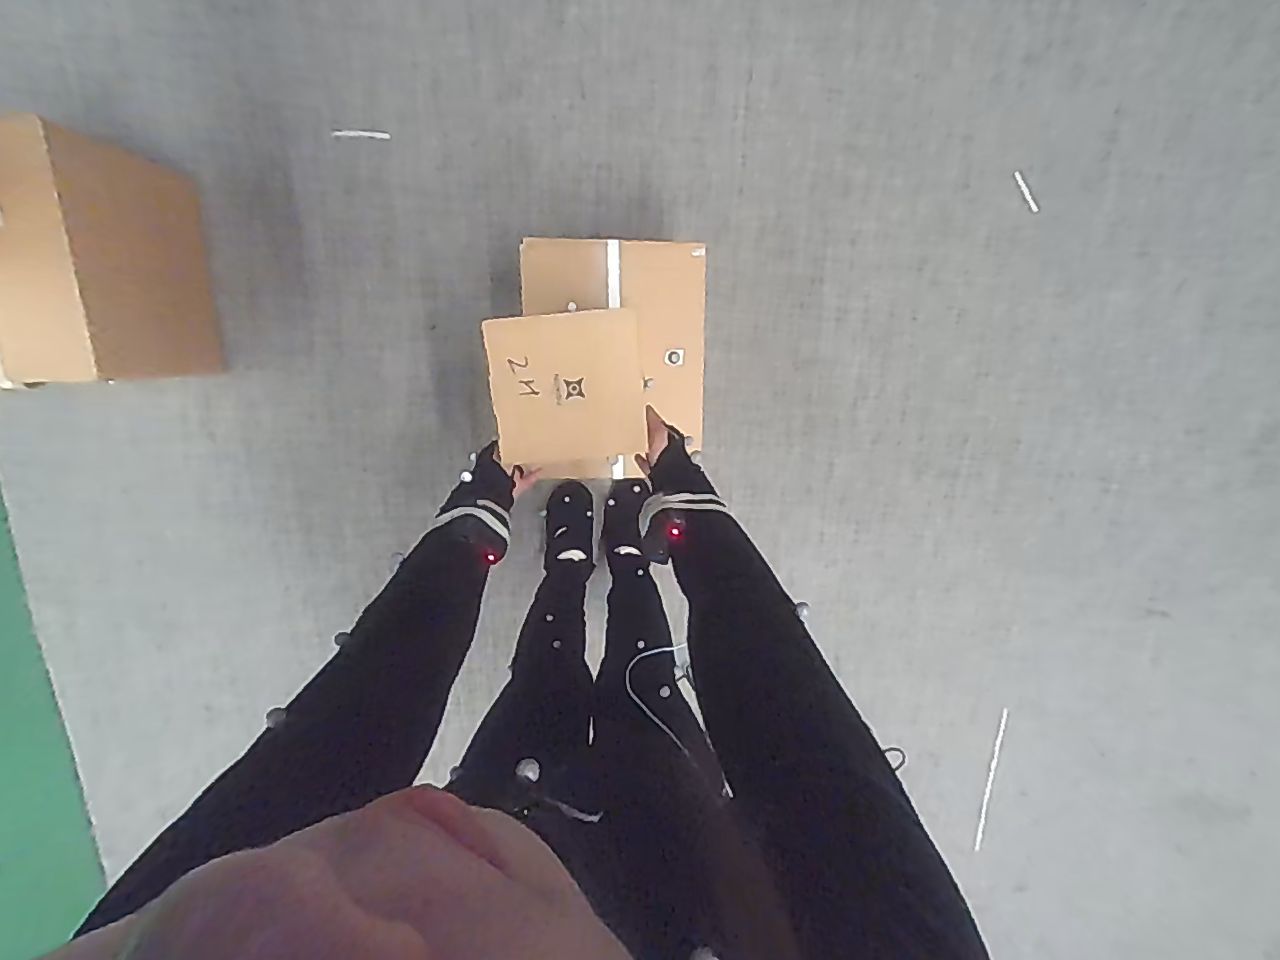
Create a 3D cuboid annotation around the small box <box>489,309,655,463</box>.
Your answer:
[{"bbox_3d":[-0.076,-0.122,0.694,0.179,0.176,0.168,-5,101,2],"label":"small box"}]

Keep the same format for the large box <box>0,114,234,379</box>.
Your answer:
[{"bbox_3d":[-1.053,-0.399,1.017,0.320,0.320,0.408,0,103,-1],"label":"large box"}]
